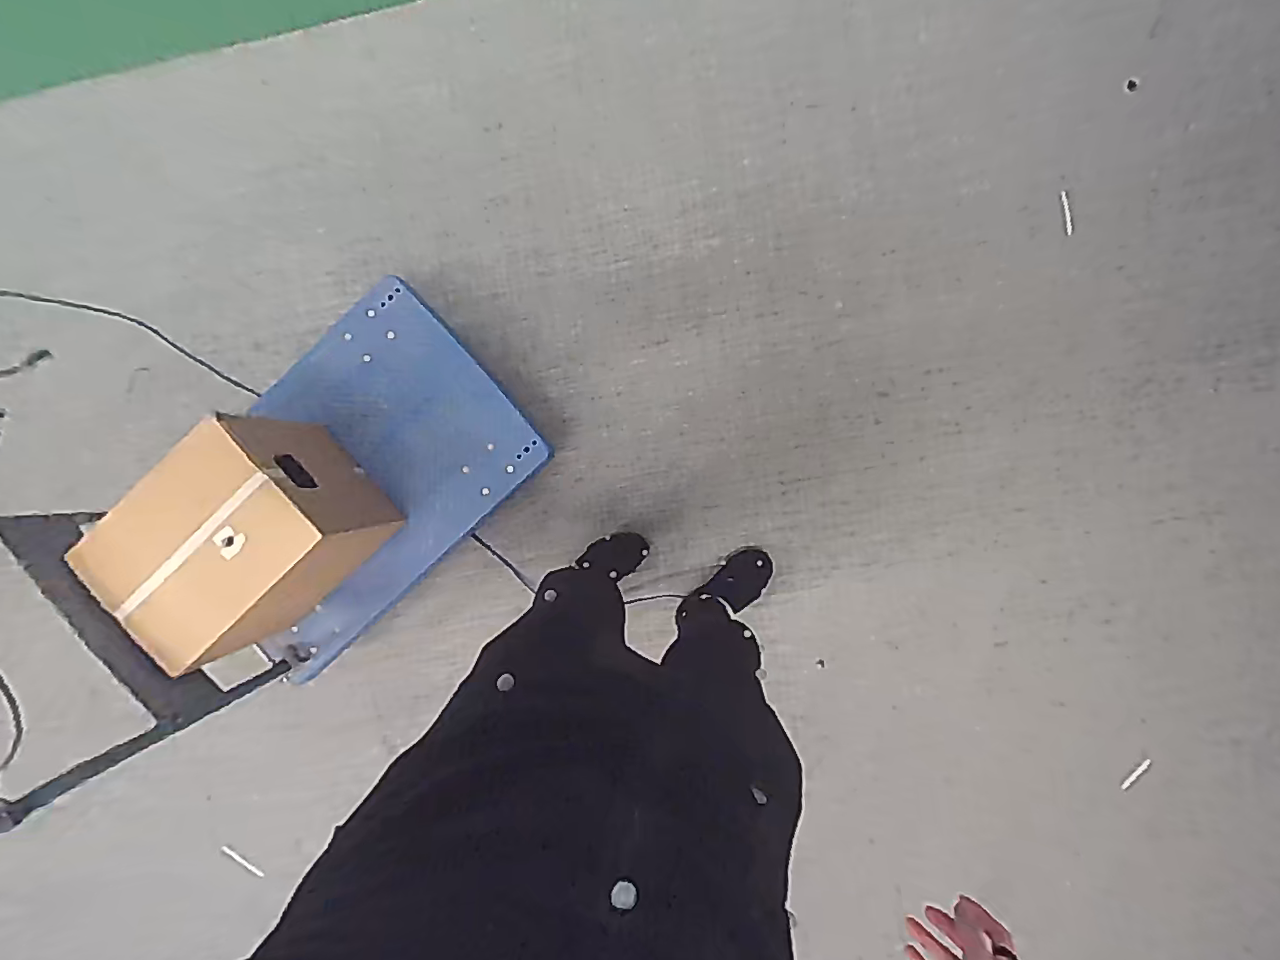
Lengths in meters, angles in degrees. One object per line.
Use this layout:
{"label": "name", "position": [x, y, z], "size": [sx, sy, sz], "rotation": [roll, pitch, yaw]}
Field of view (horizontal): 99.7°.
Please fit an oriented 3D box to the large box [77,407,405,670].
{"label": "large box", "position": [-0.802, 0.109, 1.142], "size": [0.408, 0.320, 0.320], "rotation": [-42, 89, 3]}
